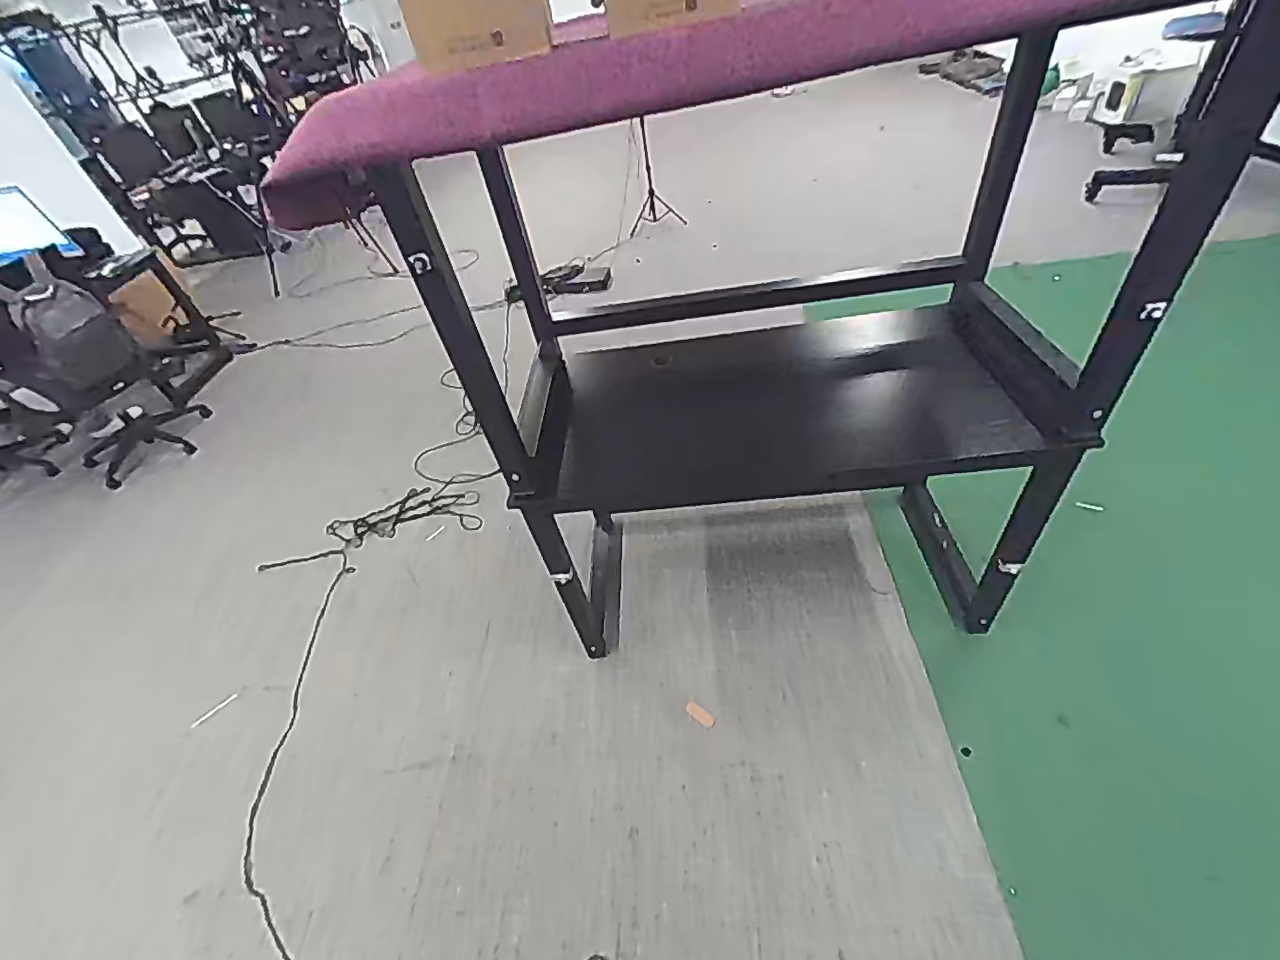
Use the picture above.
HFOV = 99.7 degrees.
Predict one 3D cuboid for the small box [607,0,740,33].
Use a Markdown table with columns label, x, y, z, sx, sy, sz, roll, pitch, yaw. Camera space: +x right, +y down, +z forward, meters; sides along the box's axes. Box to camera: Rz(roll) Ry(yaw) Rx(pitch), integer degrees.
| label | x | y | z | sx | sy | sz | roll | pitch | yaw |
| --- | --- | --- | --- | --- | --- | --- | --- | --- | --- |
| small box | 0.030 | -0.679 | 0.671 | 0.168 | 0.176 | 0.179 | -8 | 43 | 3 |

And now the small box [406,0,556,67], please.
| label | x | y | z | sx | sy | sz | roll | pitch | yaw |
| --- | --- | --- | --- | --- | --- | --- | --- | --- | --- |
| small box | -0.208 | -0.647 | 0.690 | 0.168 | 0.176 | 0.179 | -9 | 42 | 2 |
